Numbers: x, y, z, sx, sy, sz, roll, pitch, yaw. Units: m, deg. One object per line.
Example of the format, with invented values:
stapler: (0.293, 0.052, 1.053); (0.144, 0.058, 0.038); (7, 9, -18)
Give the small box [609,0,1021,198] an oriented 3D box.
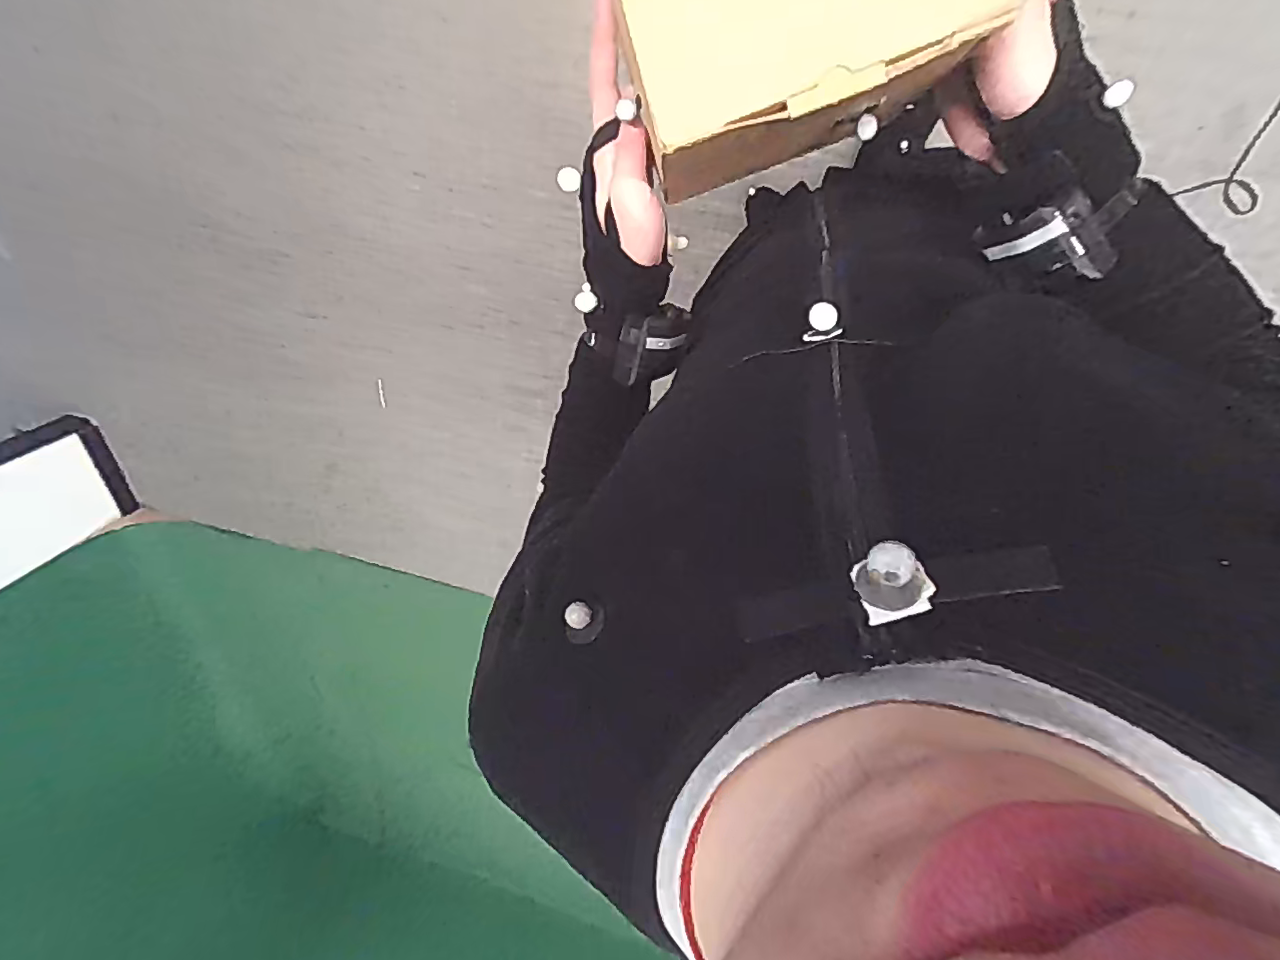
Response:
small box: (0.069, -0.278, 0.301); (0.168, 0.176, 0.179); (-17, 106, 8)
